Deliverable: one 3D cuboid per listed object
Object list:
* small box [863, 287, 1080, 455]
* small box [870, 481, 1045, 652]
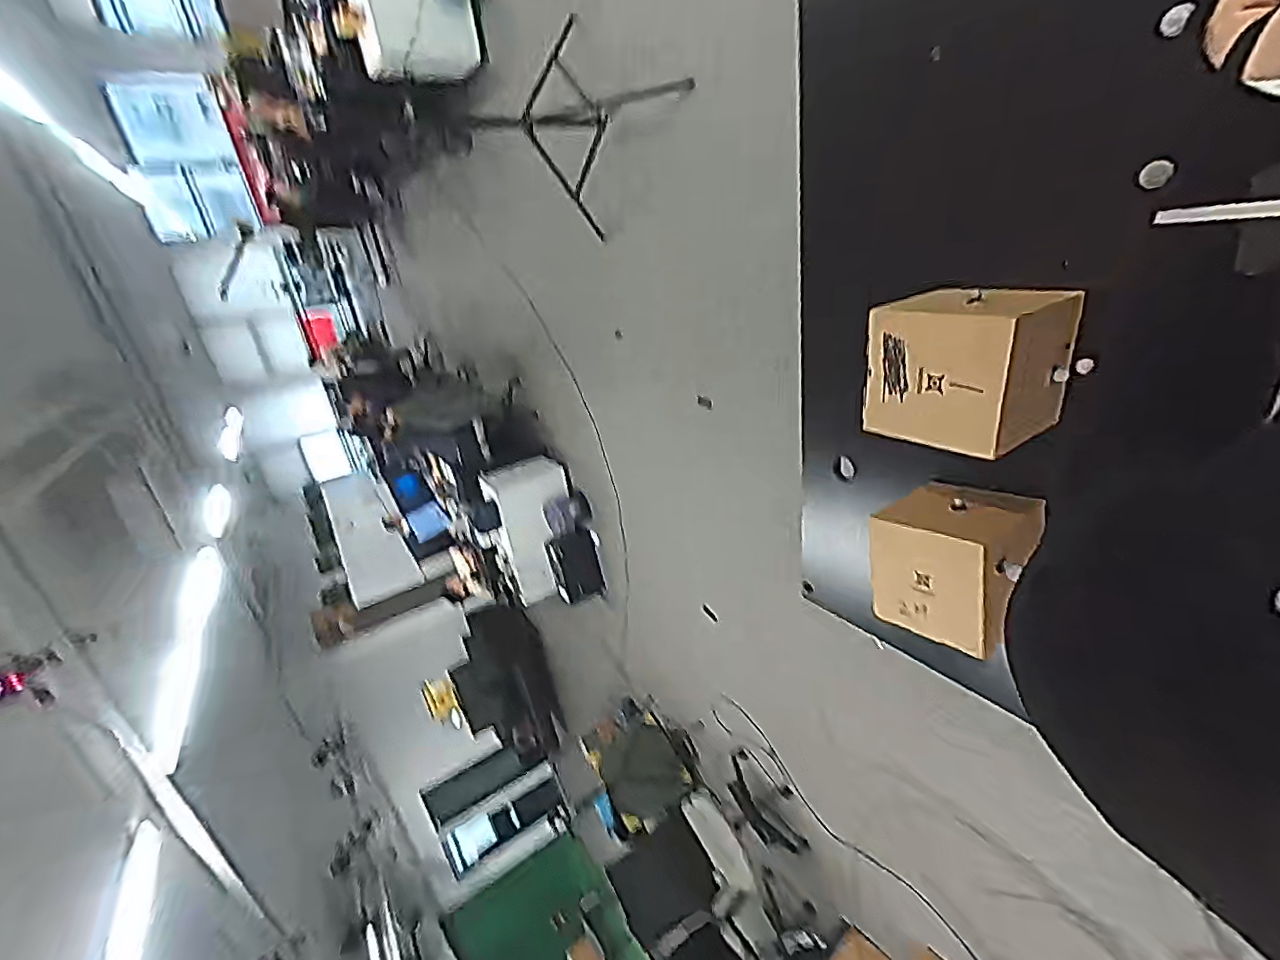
[{"bbox_3d":[0.423,-0.152,0.707,0.179,0.176,0.168,27,132,51],"label":"small box"},{"bbox_3d":[0.473,0.115,0.808,0.168,0.176,0.179,17,124,57],"label":"small box"}]
